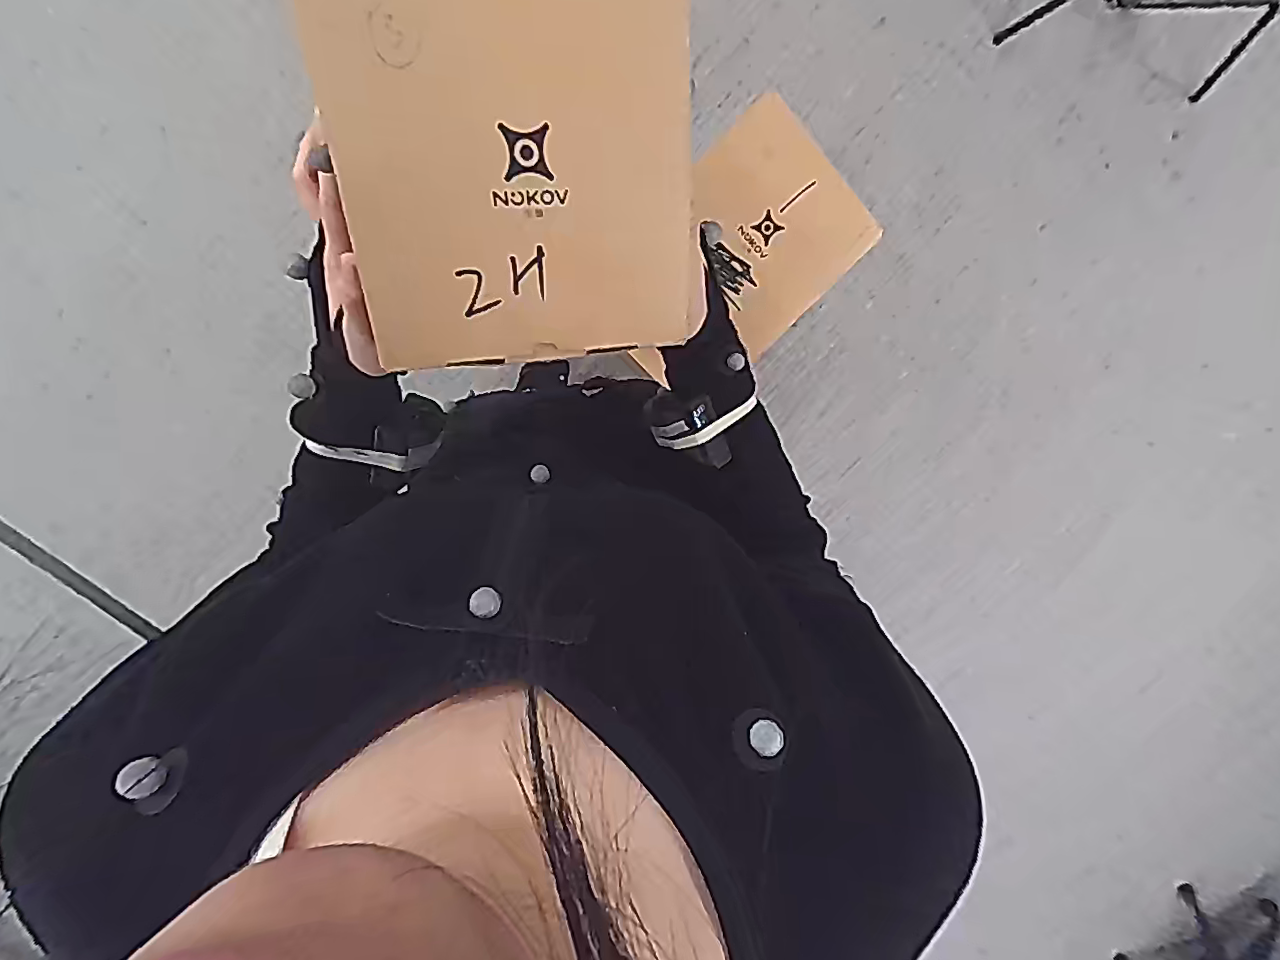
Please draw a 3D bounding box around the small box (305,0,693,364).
[{"bbox_3d":[-0.076,-0.178,0.324,0.168,0.176,0.179,-9,116,-14],"label":"small box"}]

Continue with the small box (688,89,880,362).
[{"bbox_3d":[0.102,-0.242,0.569,0.179,0.176,0.168,-44,103,5],"label":"small box"}]
